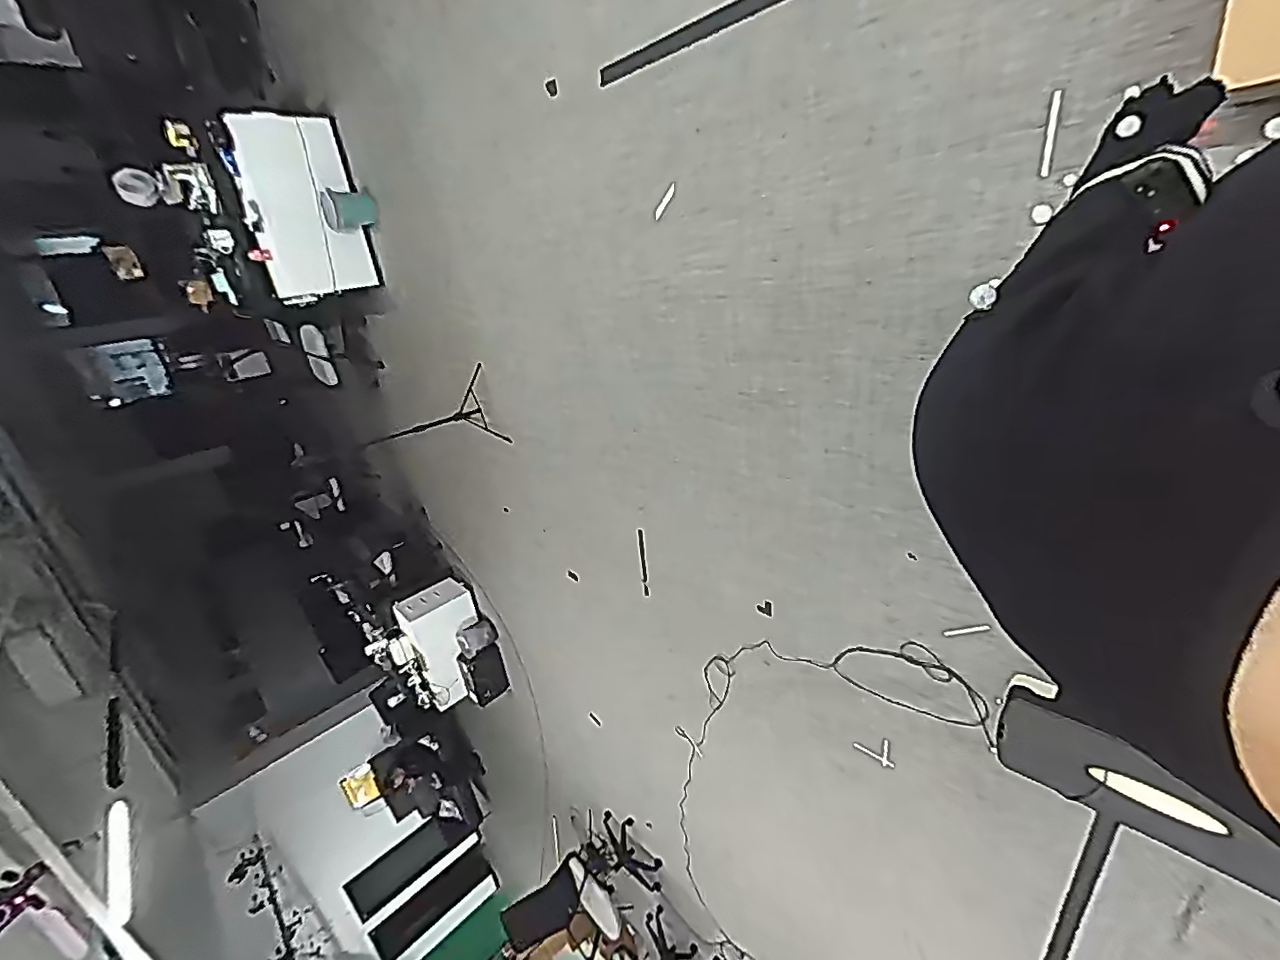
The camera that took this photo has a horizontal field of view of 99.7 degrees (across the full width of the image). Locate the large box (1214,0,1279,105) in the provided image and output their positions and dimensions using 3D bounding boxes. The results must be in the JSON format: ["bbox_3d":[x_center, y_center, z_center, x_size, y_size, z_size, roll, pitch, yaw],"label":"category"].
[{"bbox_3d":[1.003,-0.696,0.642,0.408,0.320,0.320,14,121,44],"label":"large box"}]
